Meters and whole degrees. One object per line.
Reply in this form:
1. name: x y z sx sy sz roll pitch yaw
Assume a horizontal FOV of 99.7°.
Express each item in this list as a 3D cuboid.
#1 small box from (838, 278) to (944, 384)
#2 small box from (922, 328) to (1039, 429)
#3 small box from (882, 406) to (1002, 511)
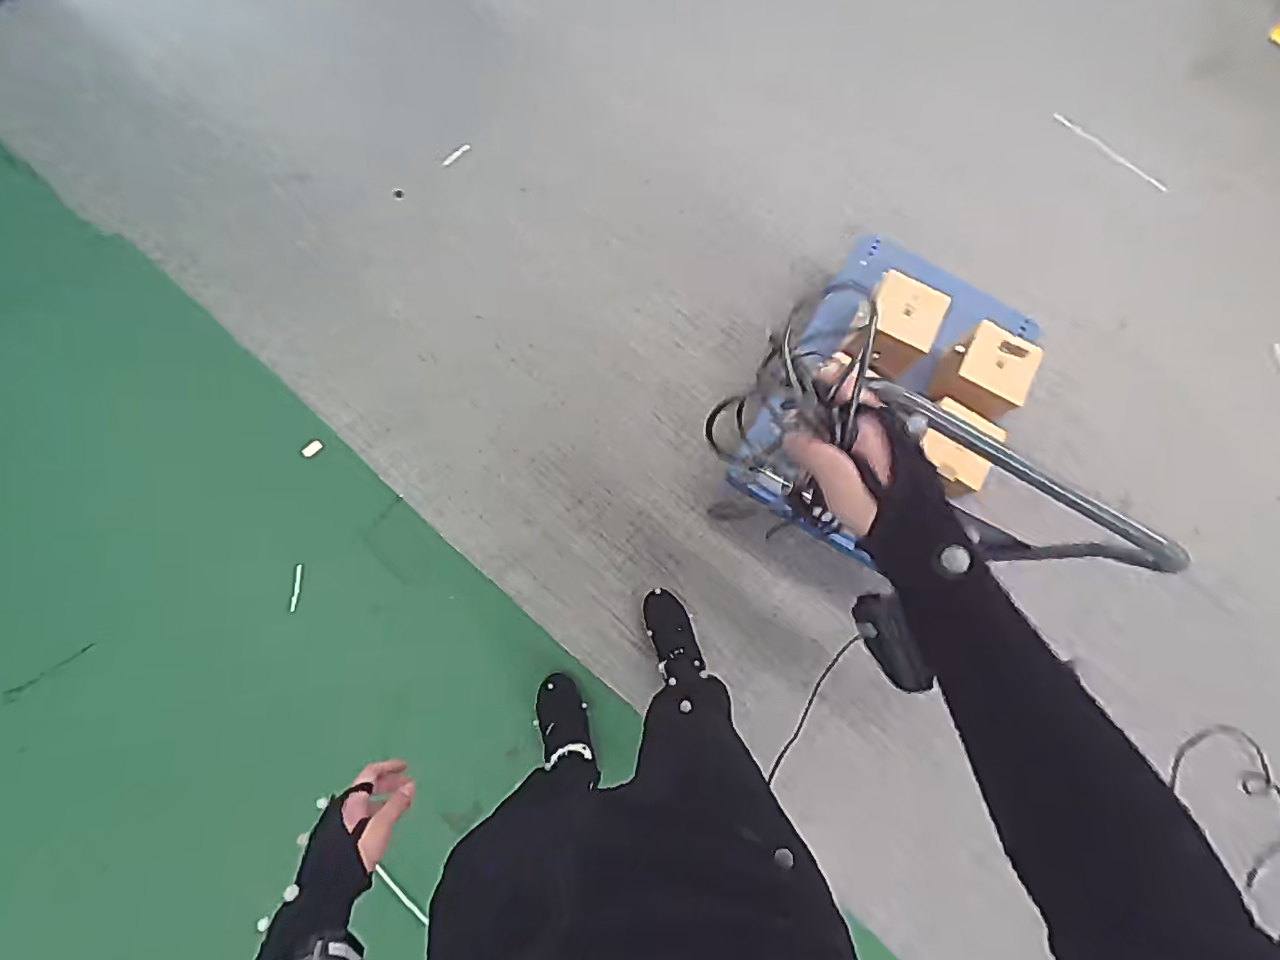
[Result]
1. small box: 0.642 -0.377 1.406 0.168 0.176 0.179 28 76 2
2. small box: 0.863 -0.247 1.388 0.168 0.176 0.179 29 77 4
3. small box: 0.732 -0.047 1.331 0.168 0.176 0.179 32 77 4
